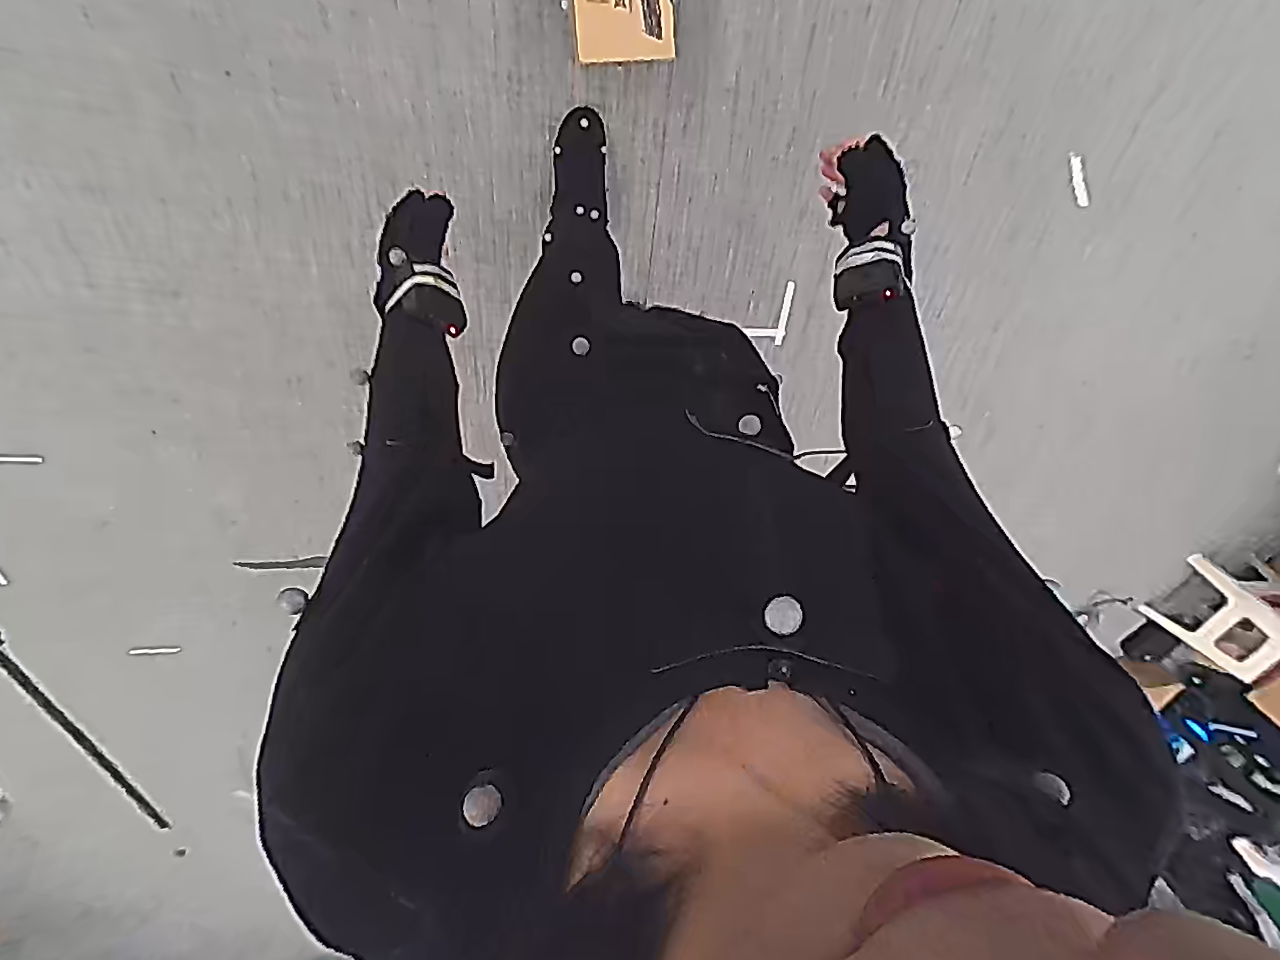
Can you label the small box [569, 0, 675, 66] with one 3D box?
[{"bbox_3d":[-0.037,-0.858,0.981,0.179,0.176,0.168,-6,127,-5],"label":"small box"}]
